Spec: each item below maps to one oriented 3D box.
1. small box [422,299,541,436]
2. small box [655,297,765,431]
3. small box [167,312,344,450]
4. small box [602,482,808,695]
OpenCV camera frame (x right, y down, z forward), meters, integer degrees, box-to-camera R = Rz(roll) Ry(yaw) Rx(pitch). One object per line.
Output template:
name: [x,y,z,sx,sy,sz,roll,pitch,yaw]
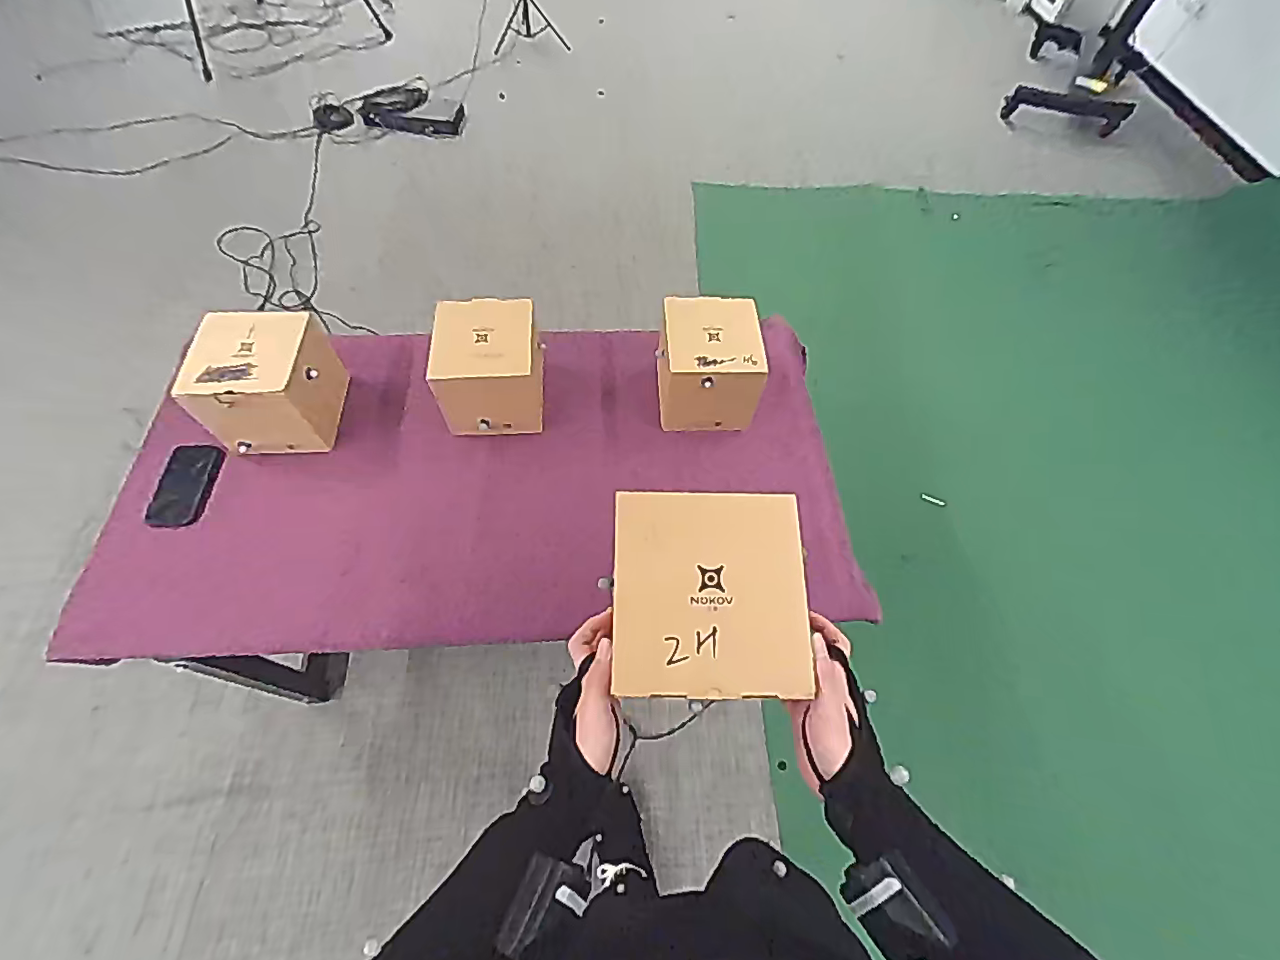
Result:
small box: [-0.270,-0.197,0.962,0.168,0.176,0.179,-3,61,-4]
small box: [0.117,-0.209,0.988,0.168,0.176,0.179,-1,60,-3]
small box: [-0.632,-0.161,0.919,0.168,0.176,0.179,-2,59,-5]
small box: [0.051,0.114,0.528,0.168,0.176,0.179,1,69,0]
